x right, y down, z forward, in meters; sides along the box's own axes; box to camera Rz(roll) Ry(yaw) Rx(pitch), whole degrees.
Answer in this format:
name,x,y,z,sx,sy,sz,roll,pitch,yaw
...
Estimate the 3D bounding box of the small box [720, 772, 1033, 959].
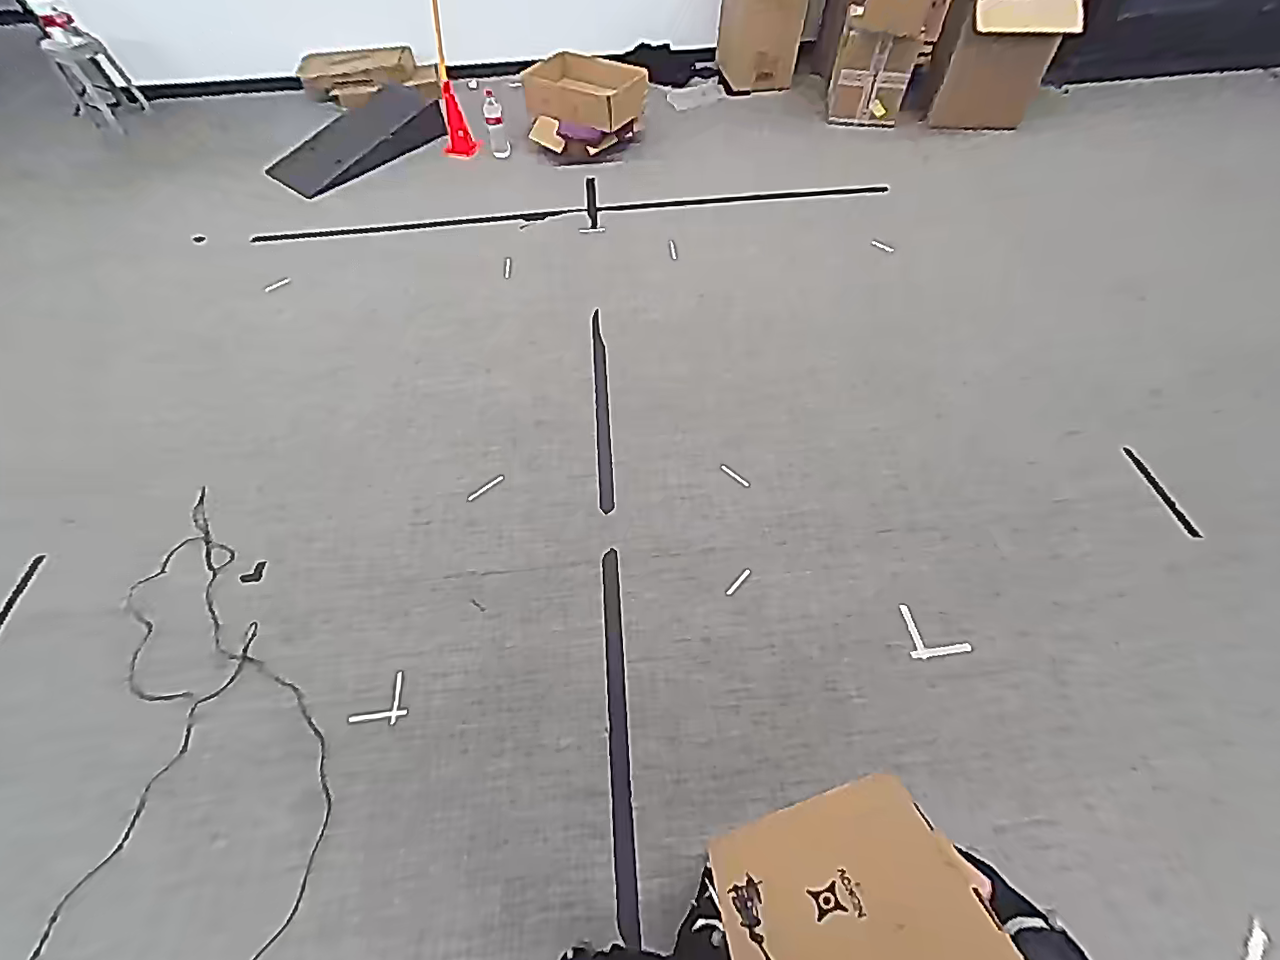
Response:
name,x,y,z,sx,sy,sz,roll,pitch,yaw
small box,0.183,0.379,0.419,0.179,0.176,0.168,-21,13,1
